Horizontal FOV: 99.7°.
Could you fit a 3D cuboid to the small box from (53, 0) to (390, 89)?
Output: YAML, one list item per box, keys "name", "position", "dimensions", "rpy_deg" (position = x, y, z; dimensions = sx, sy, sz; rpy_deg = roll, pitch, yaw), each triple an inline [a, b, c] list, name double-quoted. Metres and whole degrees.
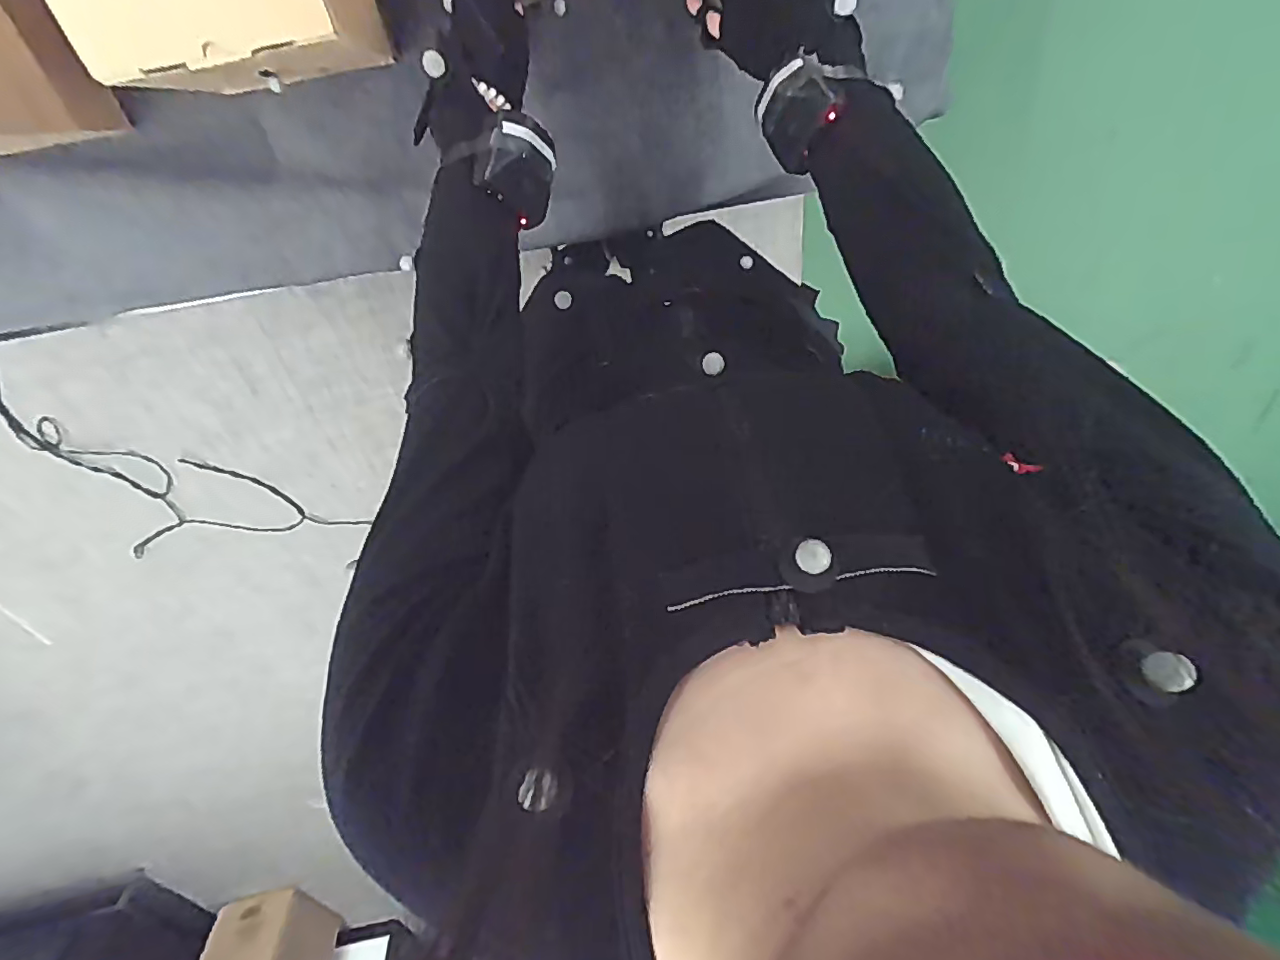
- name: "small box"
  position: [-0.304, -0.396, 0.379]
  dimensions: [0.168, 0.176, 0.179]
  rpy_deg: [-13, 126, -1]
